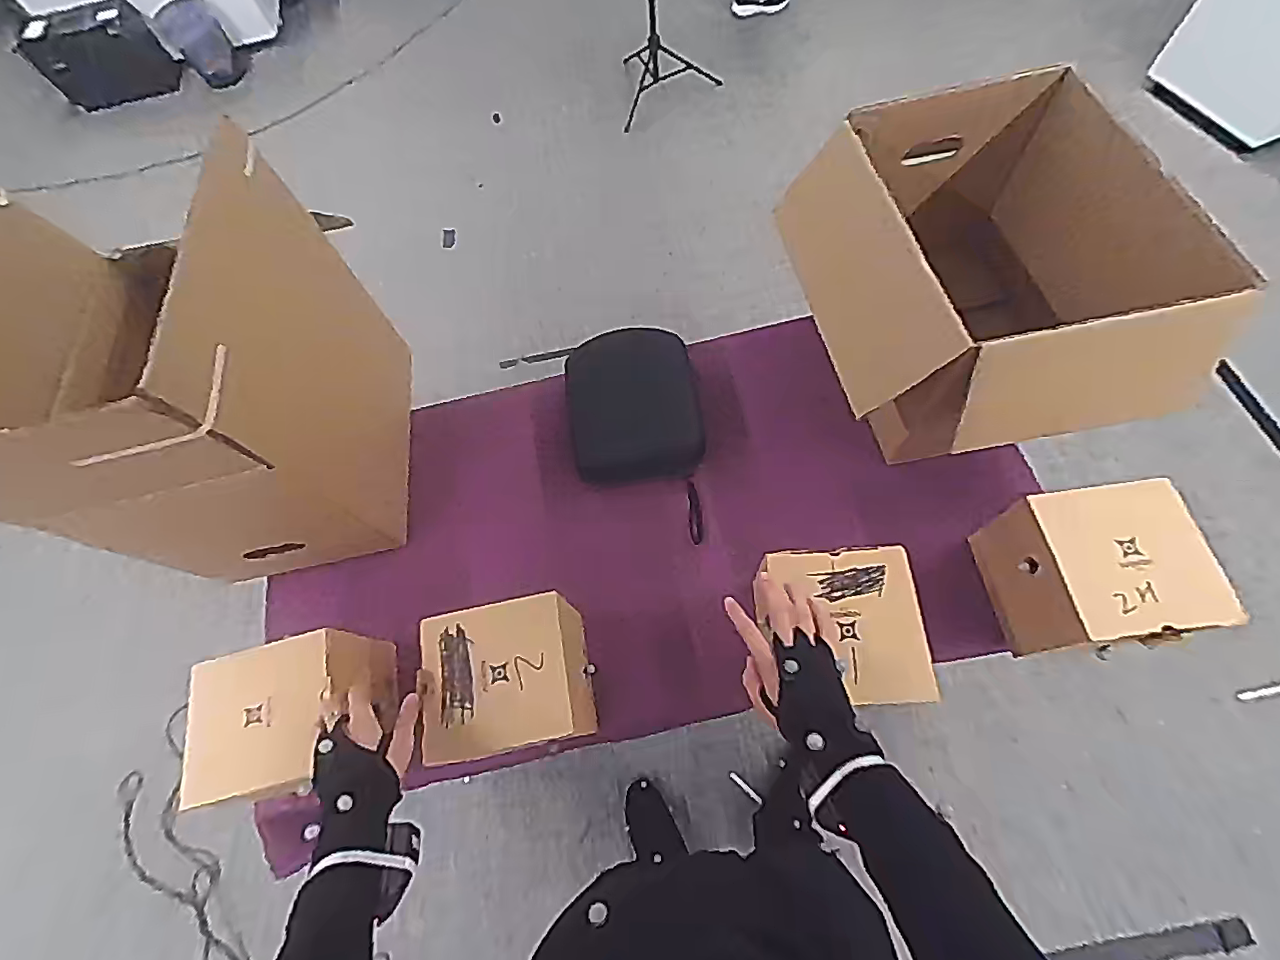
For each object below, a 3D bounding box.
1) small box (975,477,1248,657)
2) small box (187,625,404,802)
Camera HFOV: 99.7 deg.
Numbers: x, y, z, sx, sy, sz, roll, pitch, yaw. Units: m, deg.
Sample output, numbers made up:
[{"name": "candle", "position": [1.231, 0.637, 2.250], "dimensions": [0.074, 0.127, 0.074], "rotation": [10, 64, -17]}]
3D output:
[{"name": "small box", "position": [0.565, 0.117, 0.685], "dimensions": [0.168, 0.176, 0.179], "rotation": [-8, 66, 4]}, {"name": "small box", "position": [-0.442, 0.308, 0.719], "dimensions": [0.179, 0.176, 0.168], "rotation": [-15, 66, -2]}]
